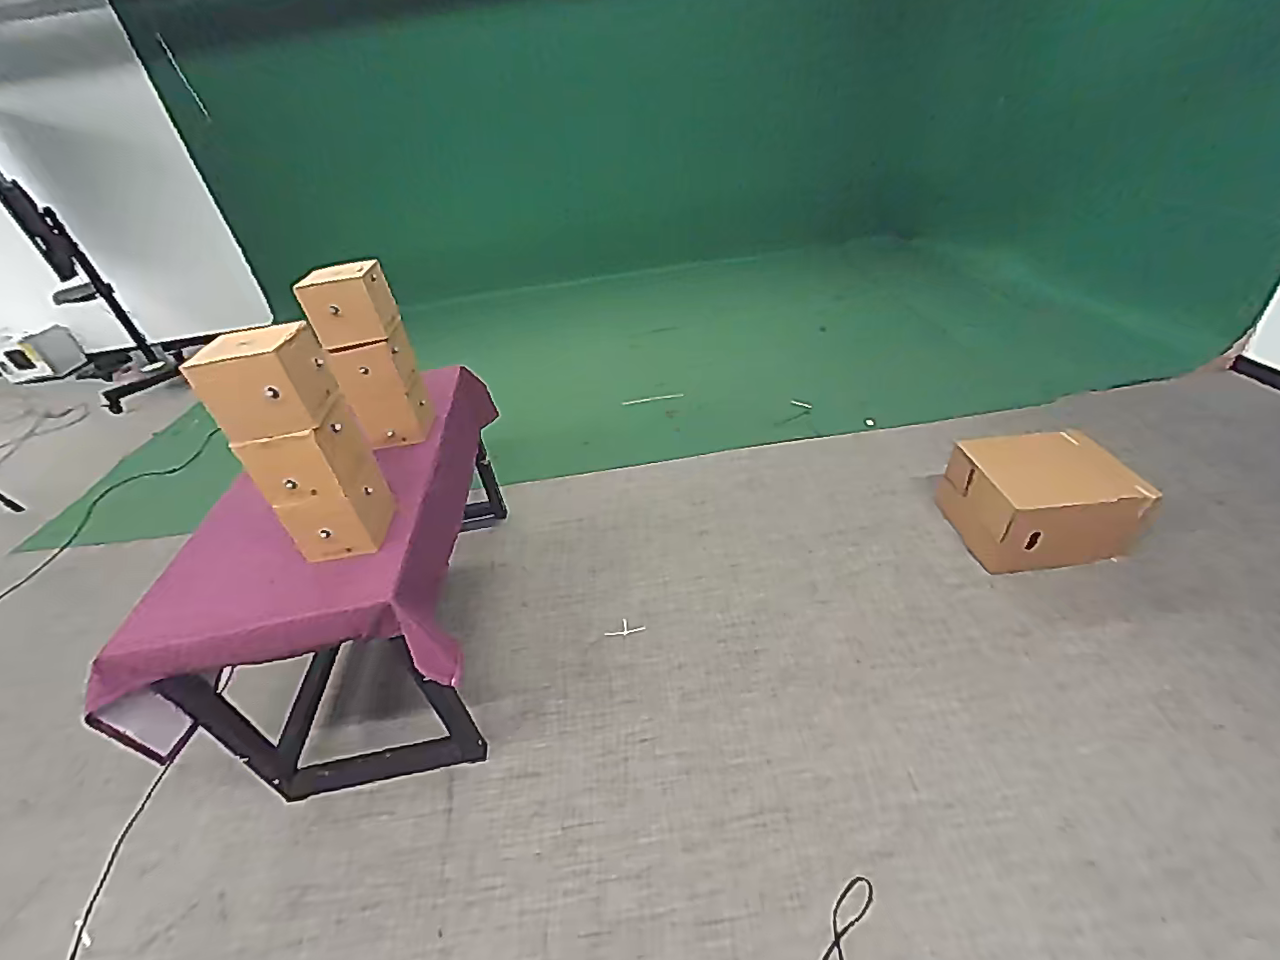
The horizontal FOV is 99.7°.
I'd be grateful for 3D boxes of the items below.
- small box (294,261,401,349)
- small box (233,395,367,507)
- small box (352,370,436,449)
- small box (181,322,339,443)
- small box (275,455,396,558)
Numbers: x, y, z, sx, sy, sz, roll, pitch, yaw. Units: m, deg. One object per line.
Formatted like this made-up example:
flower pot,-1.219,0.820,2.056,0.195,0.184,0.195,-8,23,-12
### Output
small box,-0.779,-0.470,1.459,0.179,0.176,0.168,-12,37,-1
small box,-0.728,-0.064,1.186,0.168,0.176,0.179,-9,38,0
small box,-0.750,-0.217,1.670,0.168,0.176,0.179,-10,38,0
small box,-0.746,-0.195,1.091,0.179,0.176,0.168,-11,37,-1
small box,-0.705,0.068,1.279,0.168,0.176,0.179,-9,37,0
